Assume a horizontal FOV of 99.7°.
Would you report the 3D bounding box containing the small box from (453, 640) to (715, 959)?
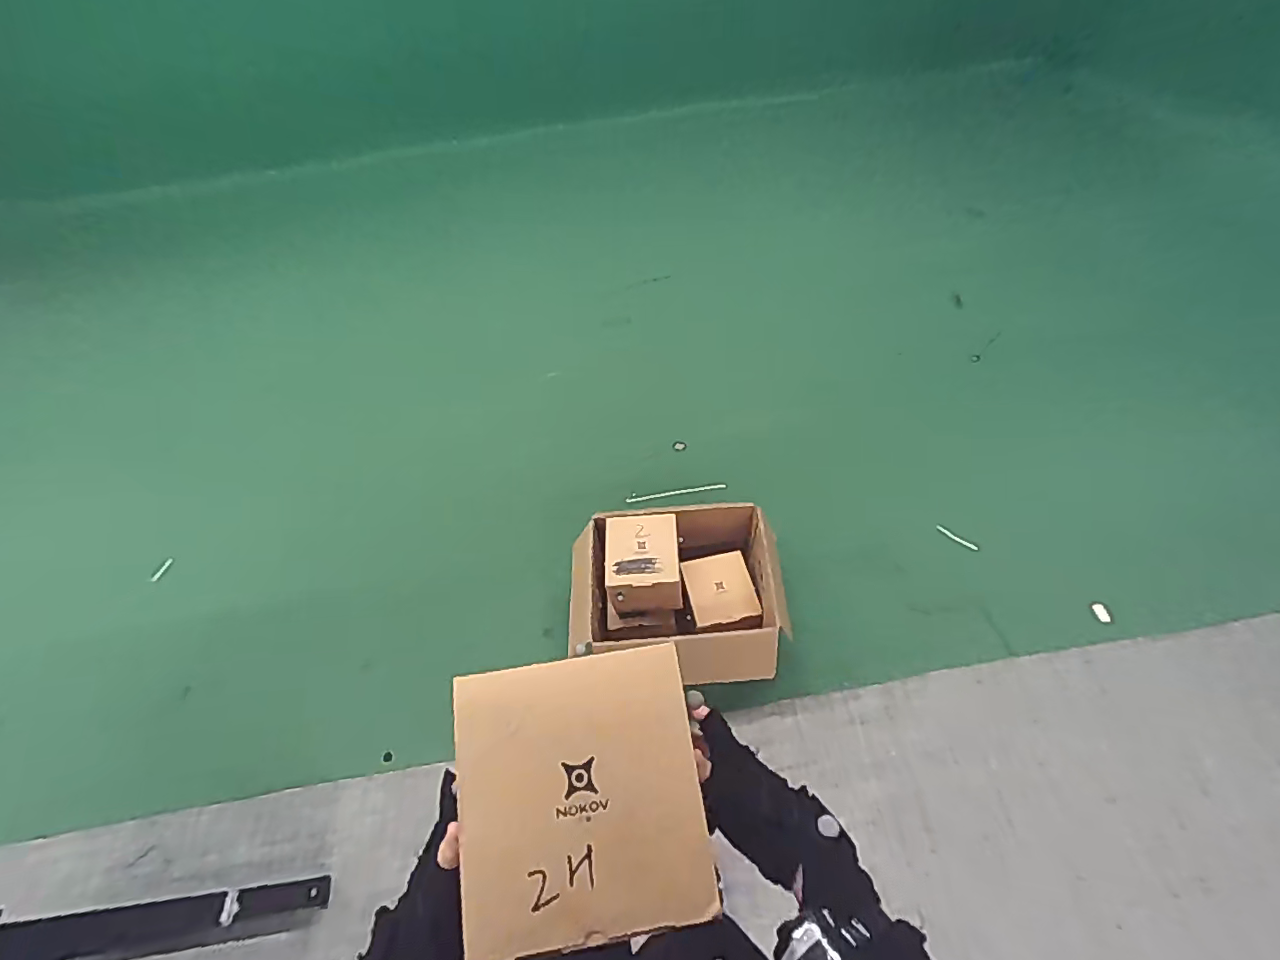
[{"bbox_3d":[-0.047,0.239,0.443,0.168,0.176,0.179,-8,69,-4],"label":"small box"}]
